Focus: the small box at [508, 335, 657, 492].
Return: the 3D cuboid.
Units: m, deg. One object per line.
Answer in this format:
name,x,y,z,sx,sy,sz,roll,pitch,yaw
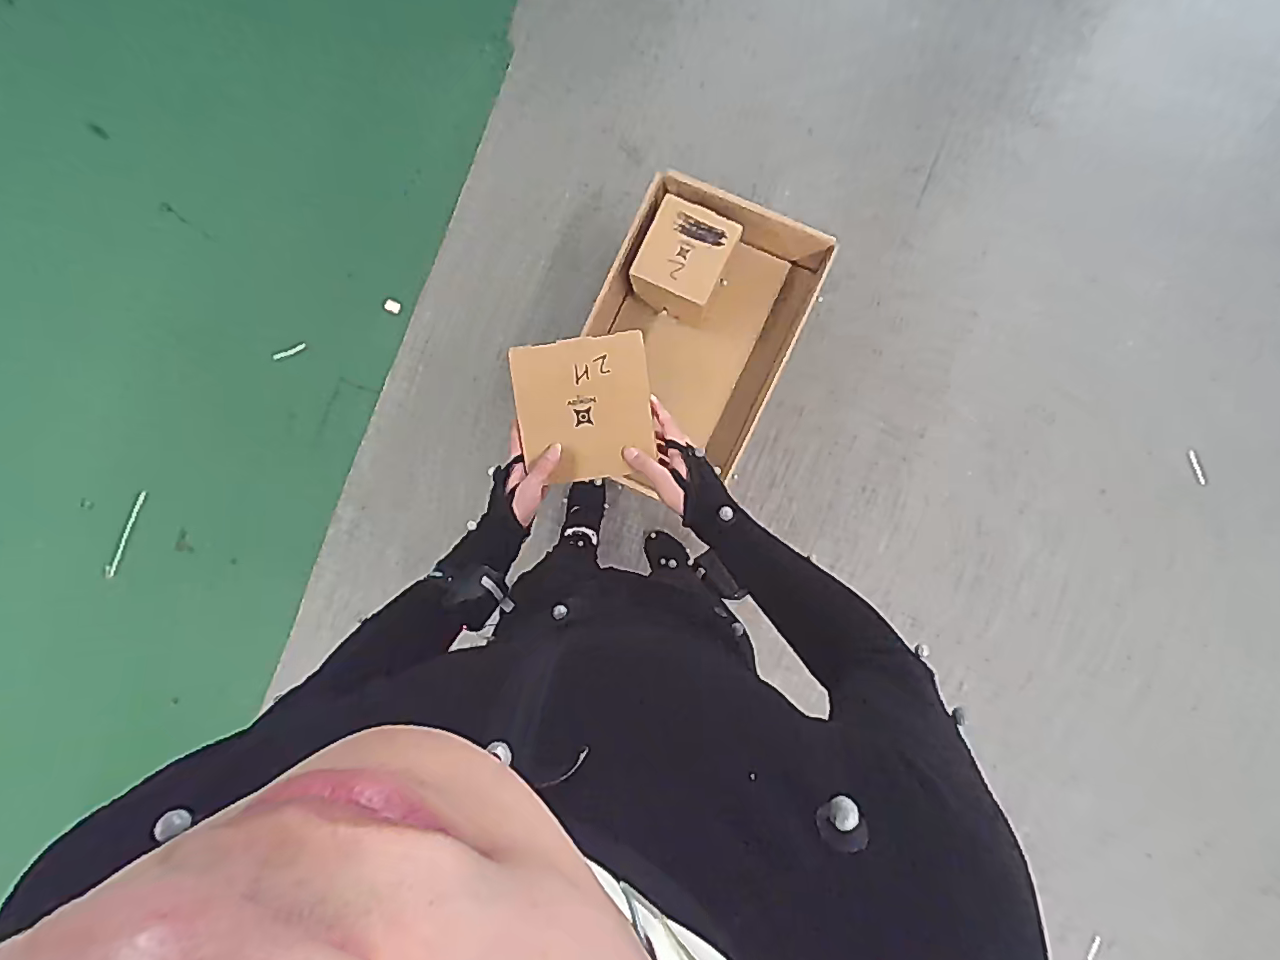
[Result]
small box,-0.067,-0.089,0.736,0.168,0.176,0.179,-8,96,2
